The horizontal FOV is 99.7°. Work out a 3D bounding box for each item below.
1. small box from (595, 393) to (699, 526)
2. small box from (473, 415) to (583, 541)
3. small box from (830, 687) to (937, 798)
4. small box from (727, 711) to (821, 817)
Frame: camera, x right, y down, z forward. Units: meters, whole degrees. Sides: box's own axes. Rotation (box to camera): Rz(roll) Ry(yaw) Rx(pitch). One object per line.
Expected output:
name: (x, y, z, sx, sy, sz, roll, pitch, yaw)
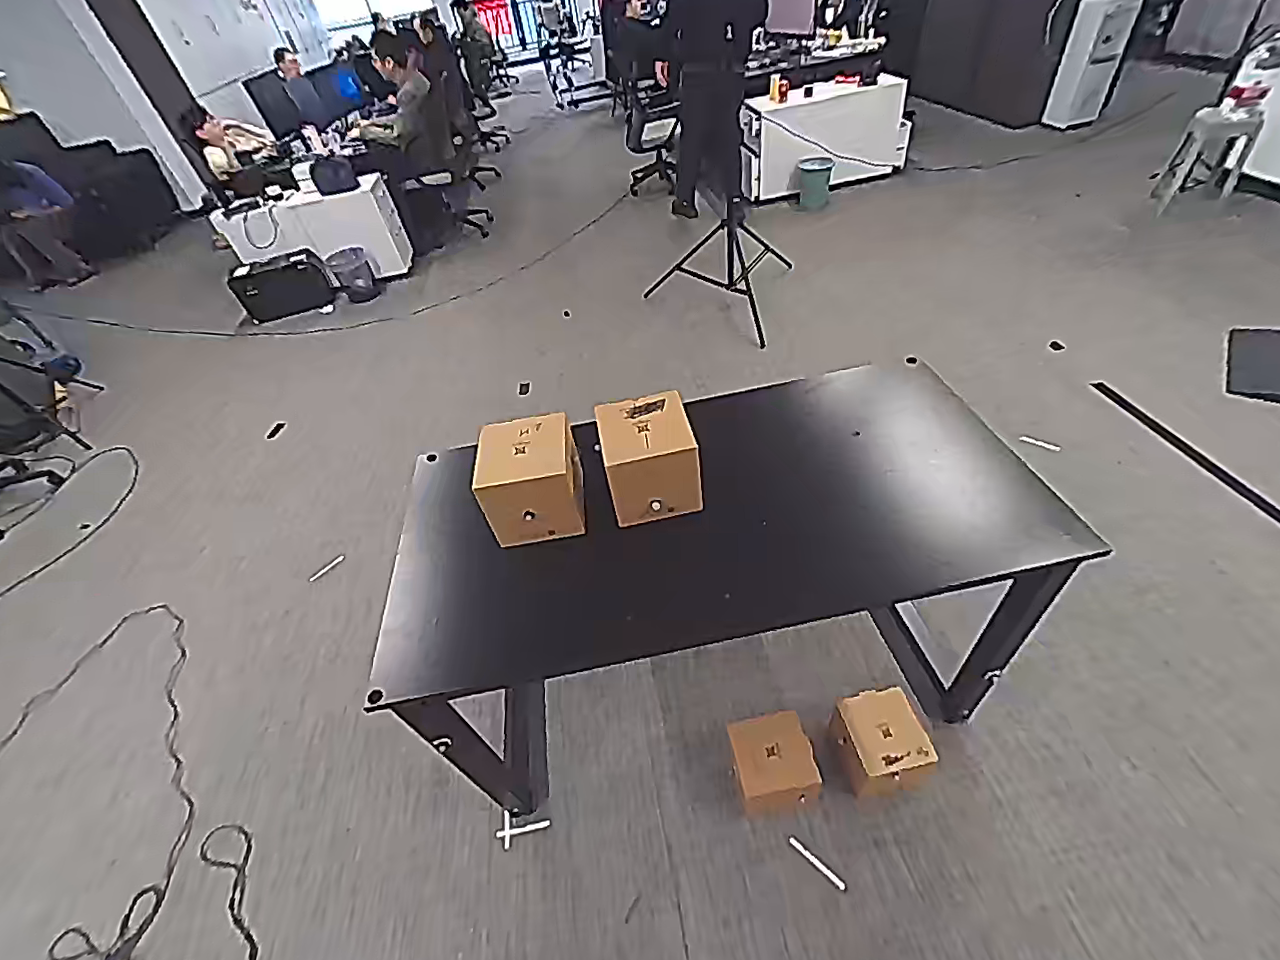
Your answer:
small box: (0.014, -0.039, 1.042, 0.168, 0.176, 0.179, -12, 45, -1)
small box: (-0.207, 0.003, 1.042, 0.168, 0.176, 0.179, -9, 44, 1)
small box: (0.572, 0.631, 1.299, 0.168, 0.176, 0.179, -13, 44, -1)
small box: (0.315, 0.684, 1.301, 0.179, 0.176, 0.168, -13, 44, 0)
